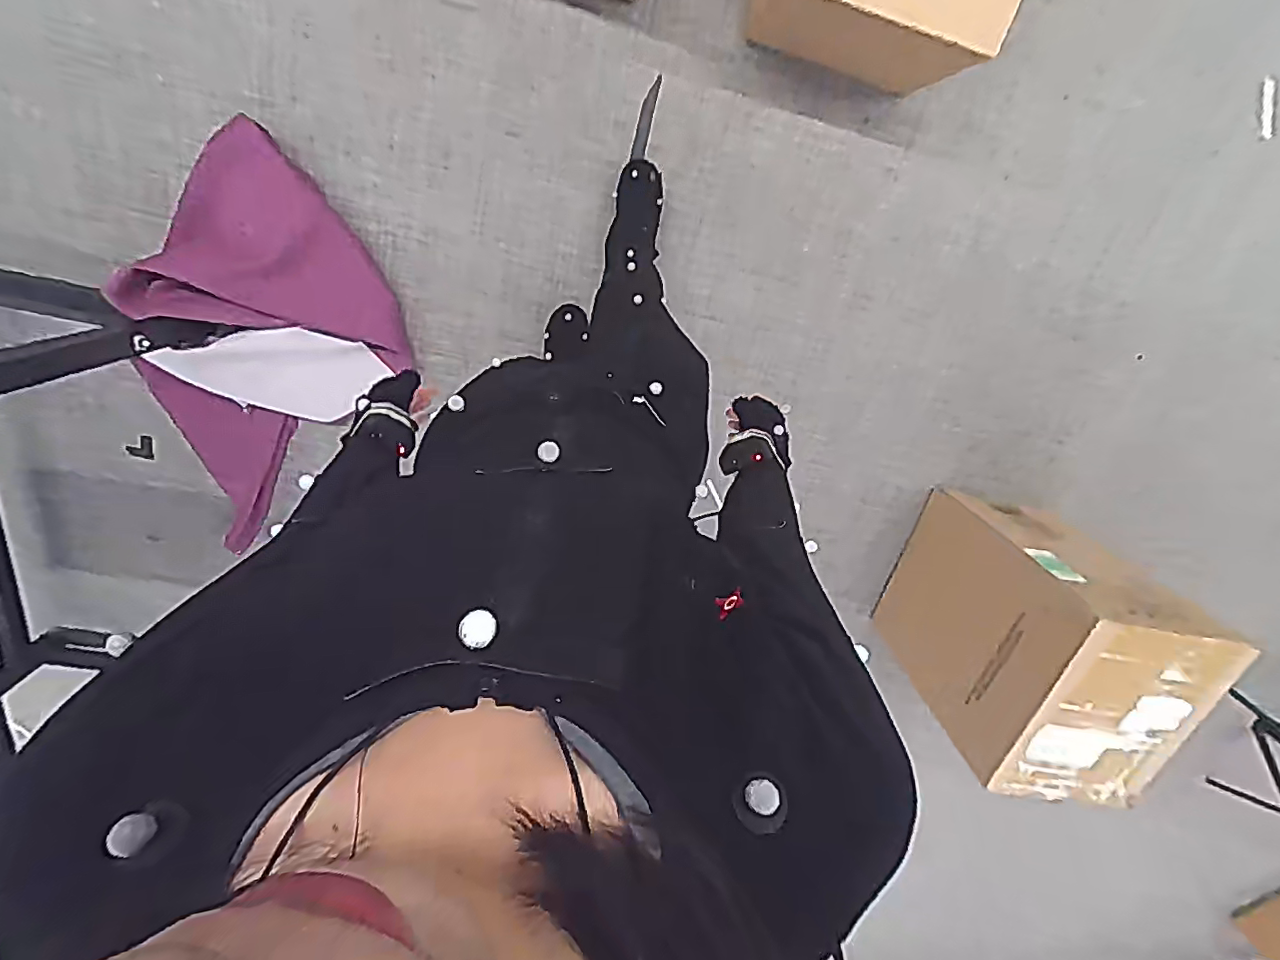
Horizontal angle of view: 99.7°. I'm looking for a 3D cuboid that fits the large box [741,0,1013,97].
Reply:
[{"bbox_3d":[0.449,-0.975,1.003,0.408,0.320,0.320,11,114,-10],"label":"large box"}]
